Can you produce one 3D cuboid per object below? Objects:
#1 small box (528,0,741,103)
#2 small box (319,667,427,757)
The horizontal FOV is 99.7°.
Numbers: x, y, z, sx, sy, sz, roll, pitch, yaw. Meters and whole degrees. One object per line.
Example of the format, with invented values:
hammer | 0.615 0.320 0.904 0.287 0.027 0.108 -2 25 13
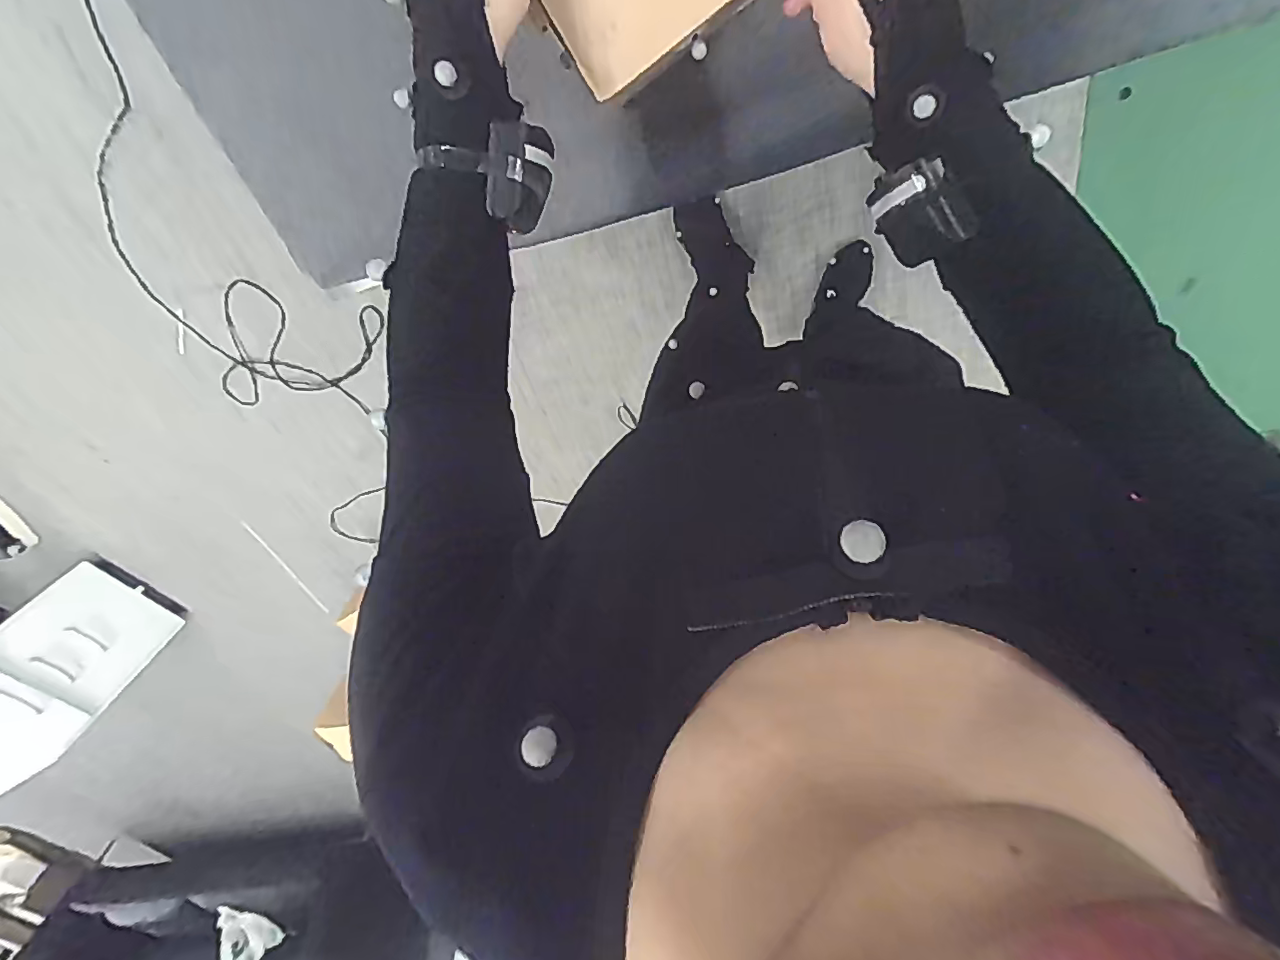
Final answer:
small box | -0.006 -0.419 0.406 0.179 0.176 0.168 -28 119 20
small box | -0.735 0.645 1.508 0.179 0.176 0.168 -10 124 13
